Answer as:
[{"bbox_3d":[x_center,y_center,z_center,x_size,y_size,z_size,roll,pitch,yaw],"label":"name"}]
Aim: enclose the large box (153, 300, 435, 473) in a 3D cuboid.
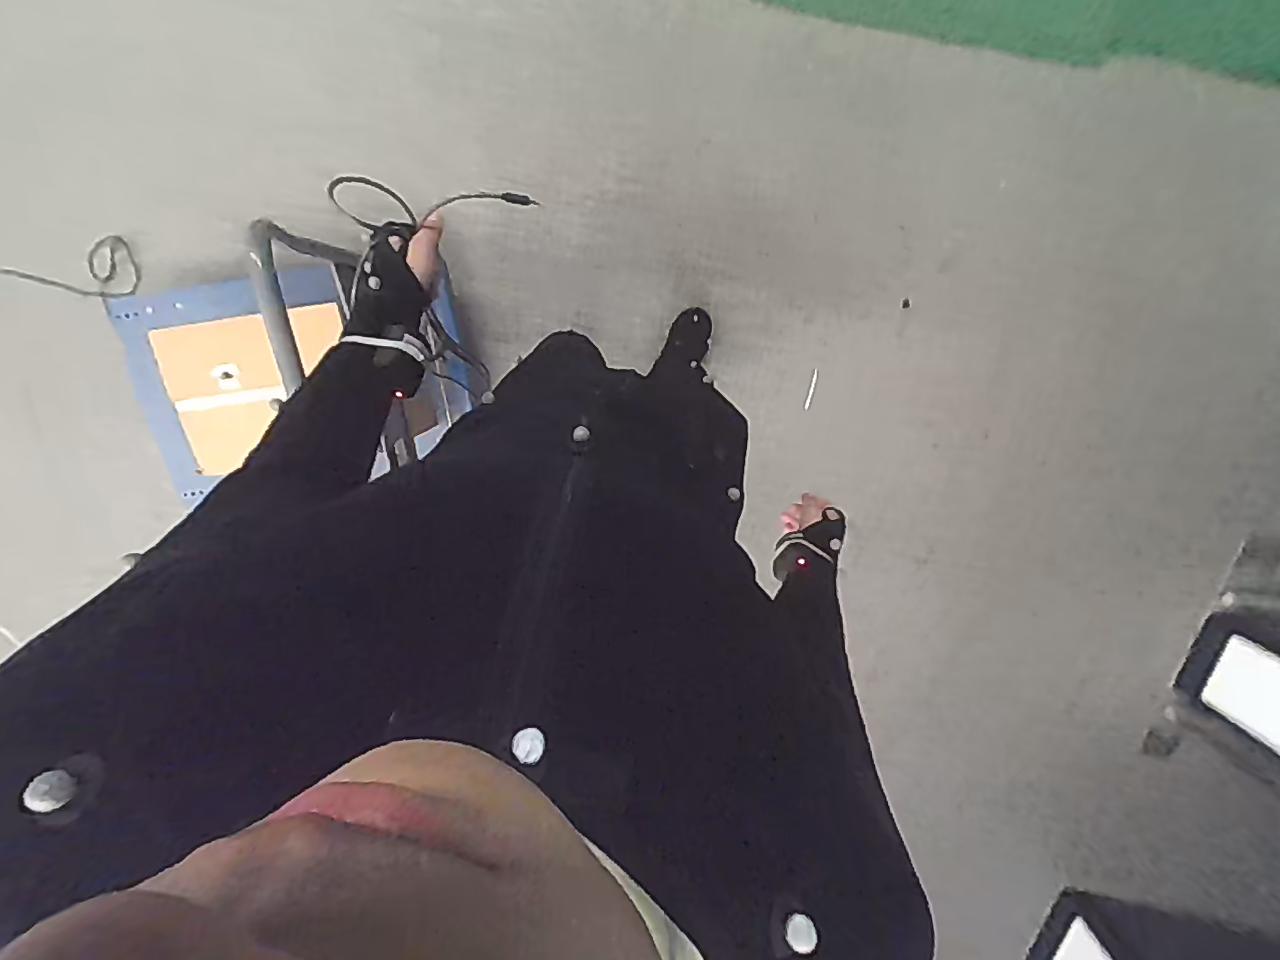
[{"bbox_3d":[-0.759,-0.228,1.256,0.408,0.320,0.320,-6,106,4],"label":"large box"}]
